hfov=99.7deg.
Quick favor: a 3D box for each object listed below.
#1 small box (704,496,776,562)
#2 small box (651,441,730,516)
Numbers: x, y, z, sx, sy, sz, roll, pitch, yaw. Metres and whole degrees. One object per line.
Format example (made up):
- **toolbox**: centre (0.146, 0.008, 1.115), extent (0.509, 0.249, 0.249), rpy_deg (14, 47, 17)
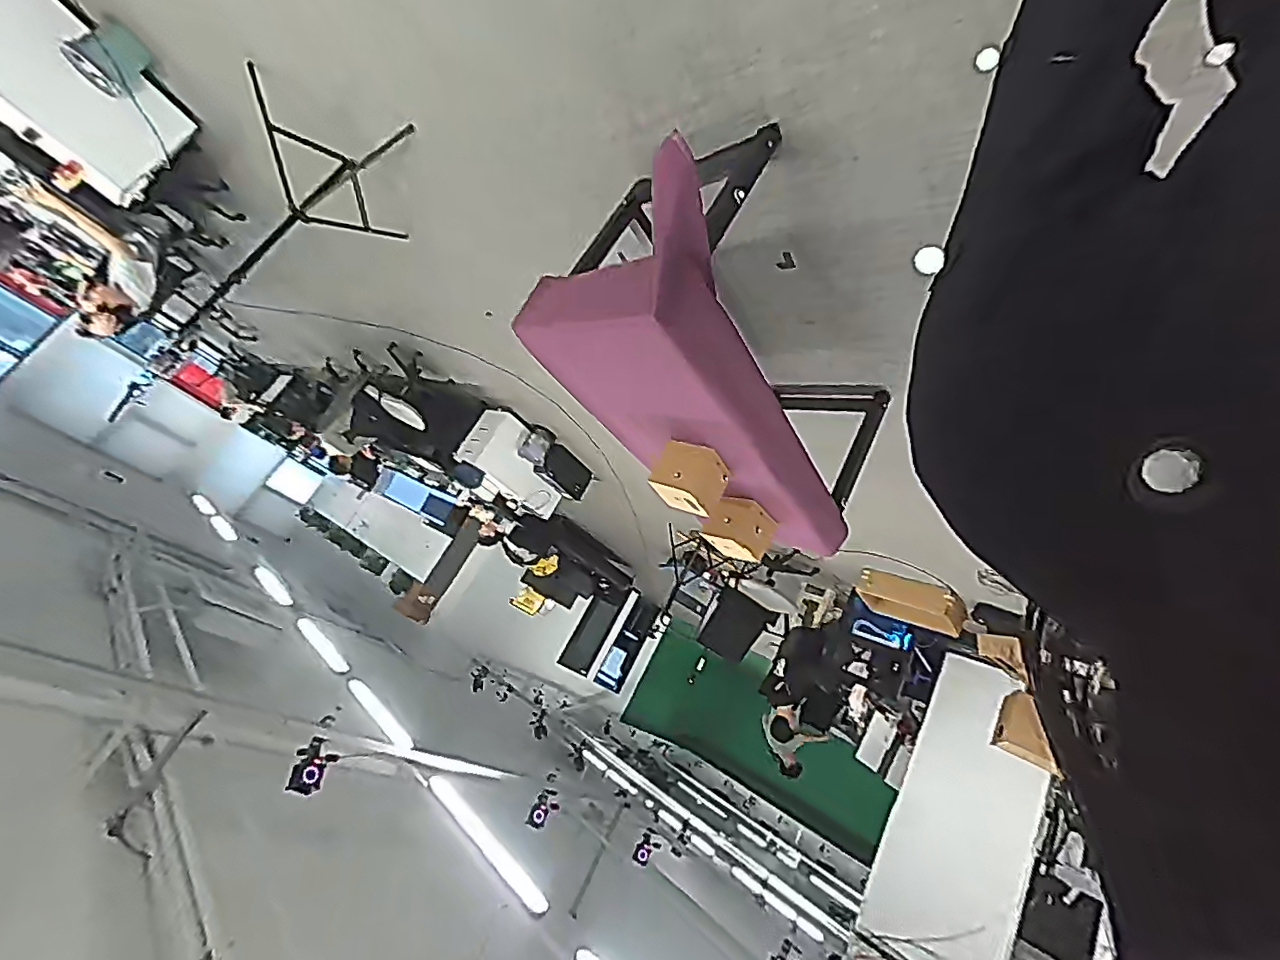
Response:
- **small box**: centre (0.367, 0.172, 1.946), extent (0.168, 0.176, 0.179), rpy_deg (41, 159, -31)
- **small box**: centre (0.171, -0.010, 1.752), extent (0.179, 0.176, 0.168), rpy_deg (16, 158, 40)
